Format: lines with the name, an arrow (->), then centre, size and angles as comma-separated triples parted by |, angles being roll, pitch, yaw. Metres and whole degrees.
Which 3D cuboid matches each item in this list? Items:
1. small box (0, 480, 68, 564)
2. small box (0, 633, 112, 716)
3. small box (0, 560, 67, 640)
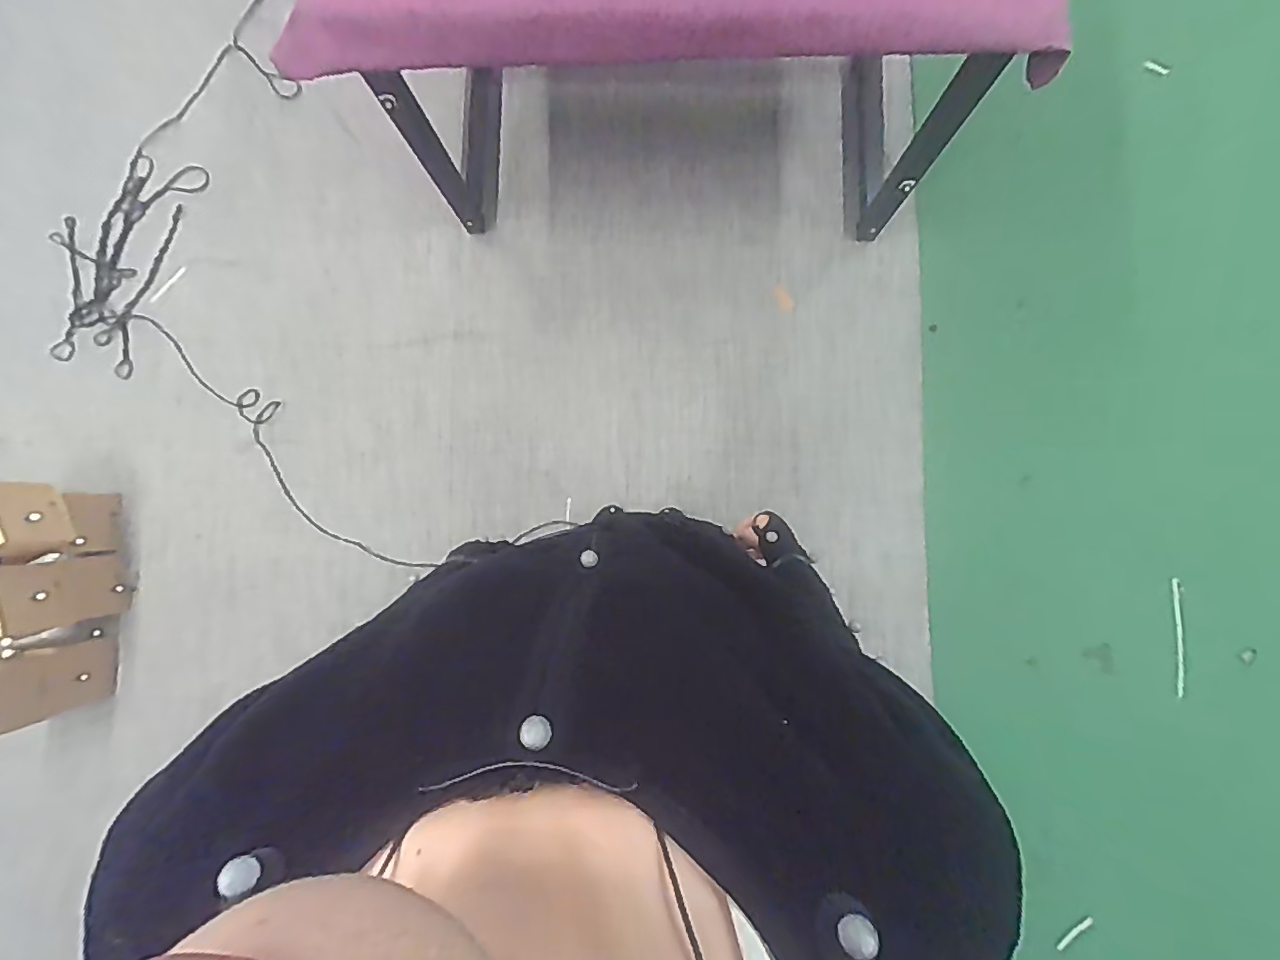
small box -> -1.566, 0.103, 1.317 | 0.179, 0.176, 0.168 | -25, 86, 1
small box -> -1.585, 0.516, 1.459 | 0.168, 0.176, 0.179 | 0, 87, 2
small box -> -1.554, 0.300, 1.308 | 0.179, 0.176, 0.168 | -17, 86, 1
